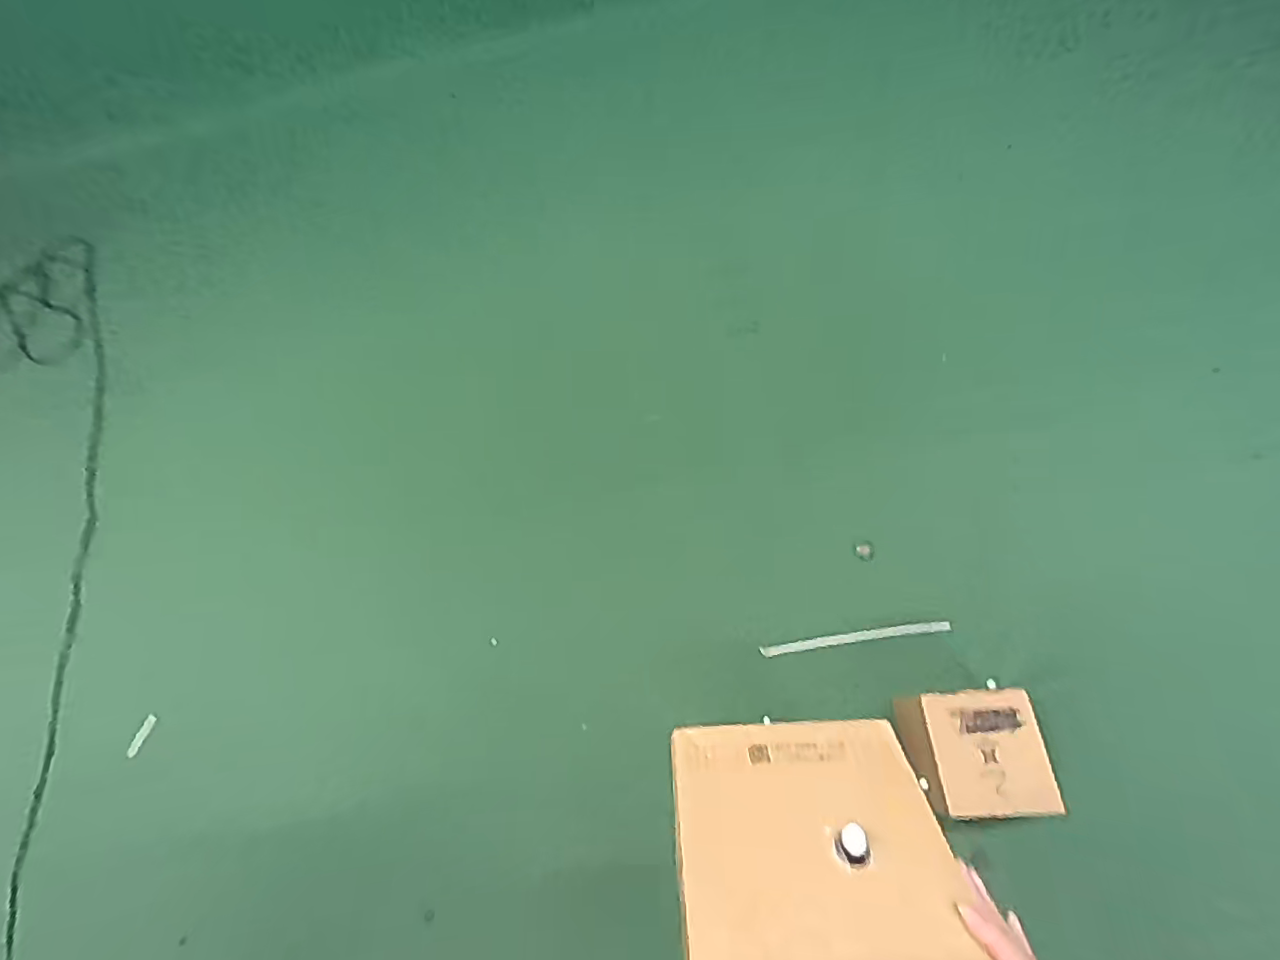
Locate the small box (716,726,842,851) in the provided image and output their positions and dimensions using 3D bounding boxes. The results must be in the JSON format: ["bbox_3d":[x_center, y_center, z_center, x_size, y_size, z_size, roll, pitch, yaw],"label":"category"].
[{"bbox_3d":[0.232,0.528,0.943,0.179,0.176,0.168,-10,64,6],"label":"small box"}]
